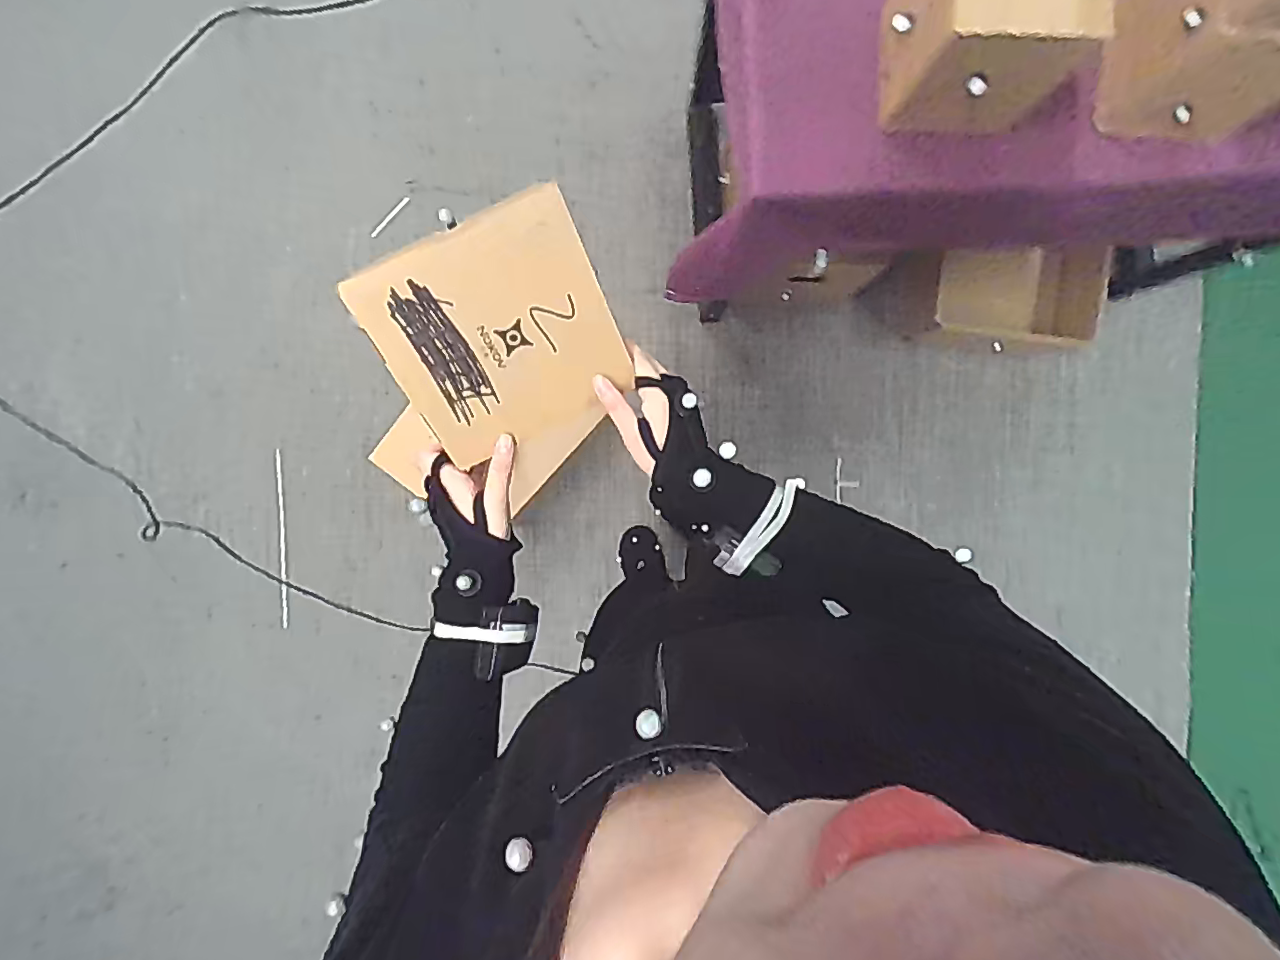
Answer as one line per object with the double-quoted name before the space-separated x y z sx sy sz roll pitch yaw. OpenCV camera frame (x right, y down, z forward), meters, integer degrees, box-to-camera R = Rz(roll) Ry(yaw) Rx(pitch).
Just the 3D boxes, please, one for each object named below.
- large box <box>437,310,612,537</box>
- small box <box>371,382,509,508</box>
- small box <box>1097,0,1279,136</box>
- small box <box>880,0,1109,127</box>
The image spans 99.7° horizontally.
"large box" -0.313 -0.124 1.319 0.320 0.320 0.408 42 90 -3
"small box" -0.382 -0.067 1.074 0.168 0.176 0.179 38 92 0
"small box" 0.706 -0.561 0.653 0.168 0.176 0.179 5 93 -1
"small box" 0.408 -0.555 0.648 0.179 0.176 0.168 0 93 0
